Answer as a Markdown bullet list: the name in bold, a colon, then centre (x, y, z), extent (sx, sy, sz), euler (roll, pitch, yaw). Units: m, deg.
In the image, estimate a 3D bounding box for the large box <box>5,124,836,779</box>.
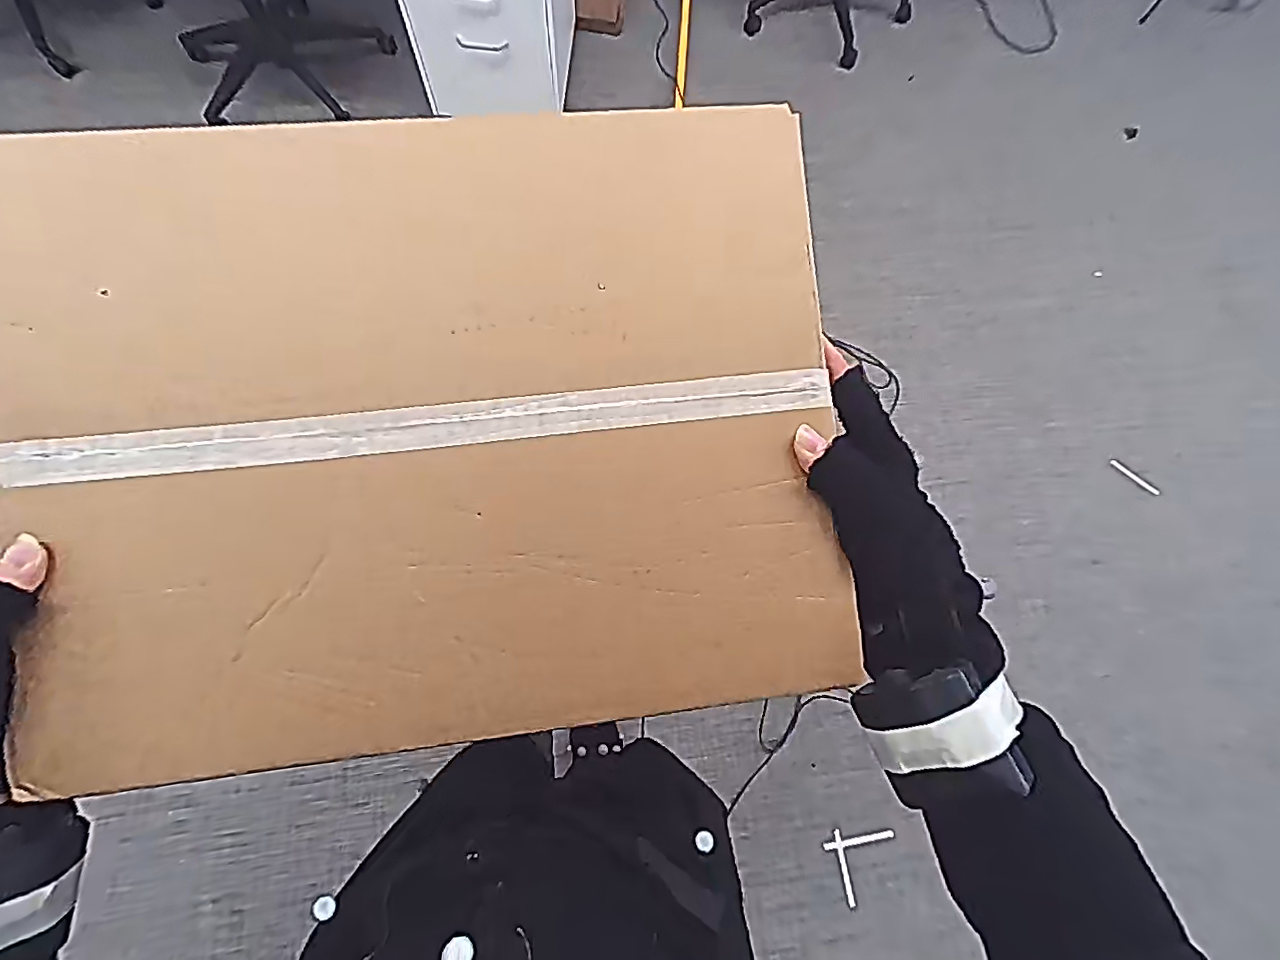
- **large box**: centre (-0.114, -0.023, 0.430), extent (0.408, 0.320, 0.320), euler (-5, 88, -5)
